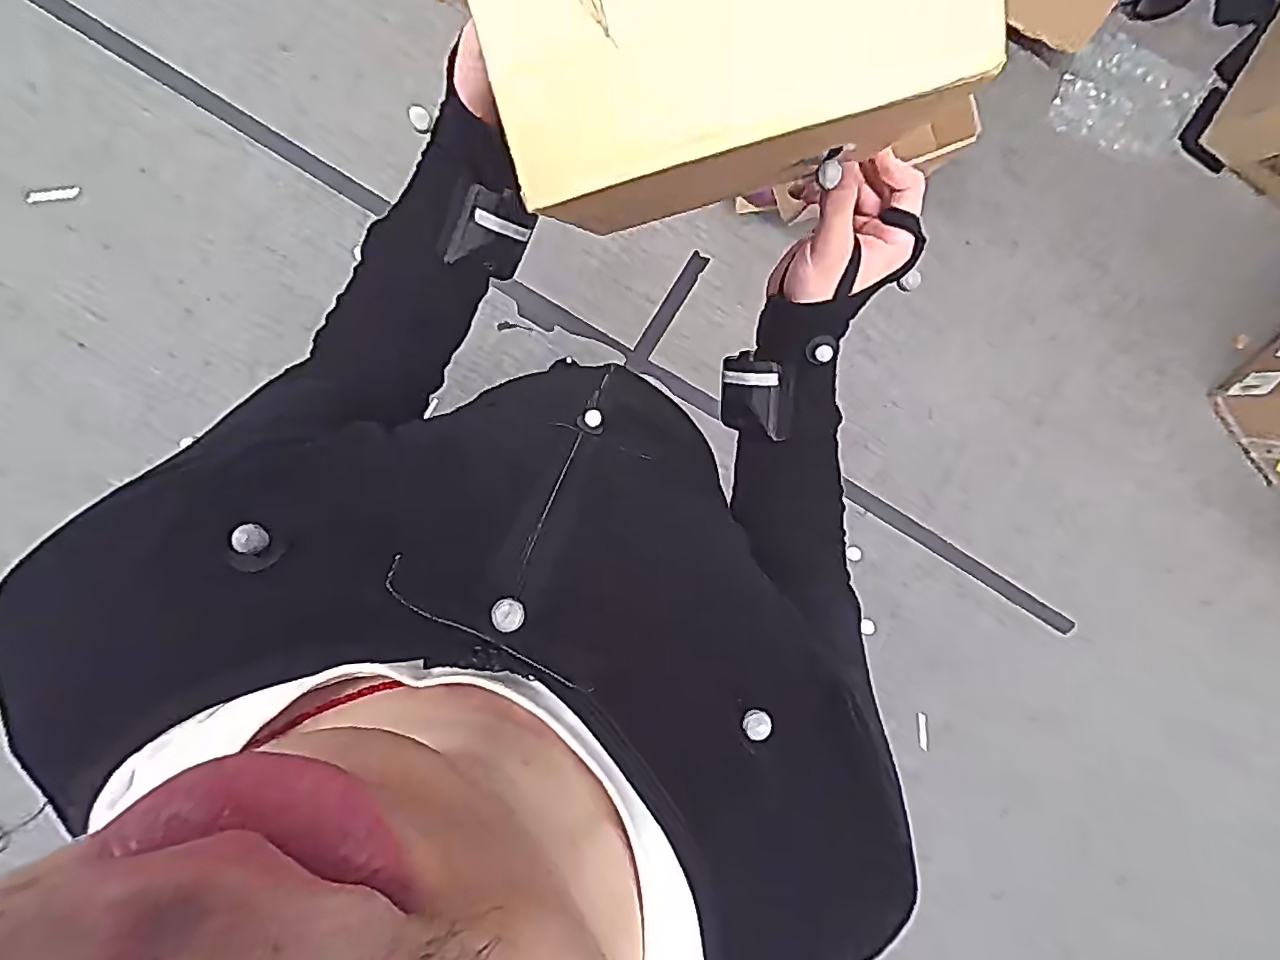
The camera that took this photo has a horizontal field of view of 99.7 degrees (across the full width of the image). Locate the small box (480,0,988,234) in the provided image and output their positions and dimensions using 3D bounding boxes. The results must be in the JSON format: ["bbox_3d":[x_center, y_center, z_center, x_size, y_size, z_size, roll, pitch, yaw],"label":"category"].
[{"bbox_3d":[0.029,-0.230,0.257,0.179,0.176,0.168,-12,108,10],"label":"small box"}]
